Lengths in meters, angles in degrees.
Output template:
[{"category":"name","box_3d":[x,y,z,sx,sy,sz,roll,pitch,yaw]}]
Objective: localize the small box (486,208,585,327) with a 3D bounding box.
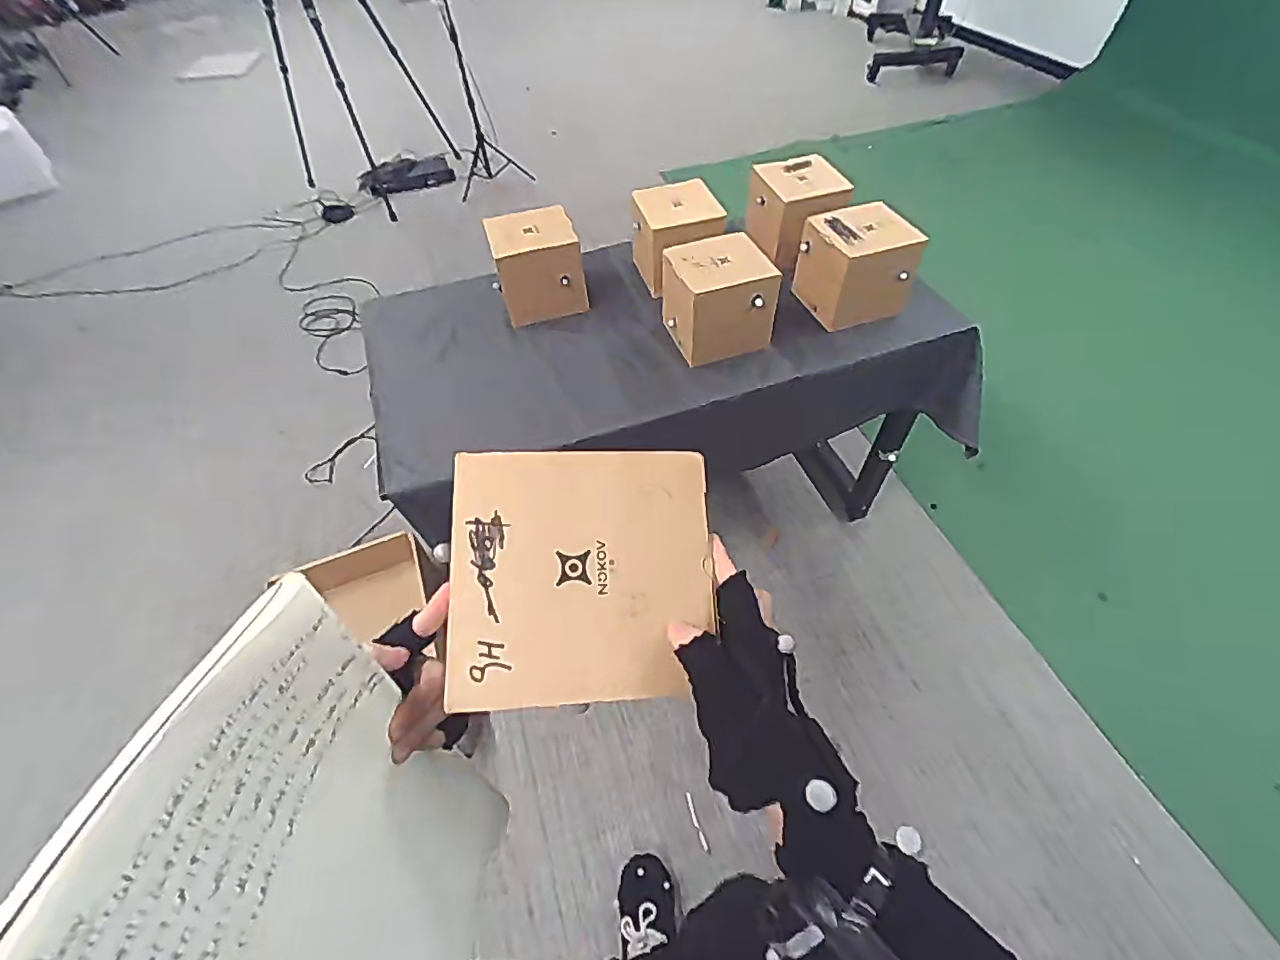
[{"category":"small box","box_3d":[-0.223,-0.461,1.179,0.179,0.176,0.168,-14,53,-9]}]

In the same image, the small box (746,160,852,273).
[{"category":"small box","box_3d":[0.359,-0.614,1.263,0.168,0.176,0.179,-15,54,-7]}]

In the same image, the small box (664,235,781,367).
[{"category":"small box","box_3d":[0.154,-0.352,1.076,0.179,0.176,0.168,-16,53,-9]}]

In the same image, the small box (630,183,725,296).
[{"category":"small box","box_3d":[0.083,-0.536,1.223,0.168,0.176,0.179,-14,53,-8]}]
